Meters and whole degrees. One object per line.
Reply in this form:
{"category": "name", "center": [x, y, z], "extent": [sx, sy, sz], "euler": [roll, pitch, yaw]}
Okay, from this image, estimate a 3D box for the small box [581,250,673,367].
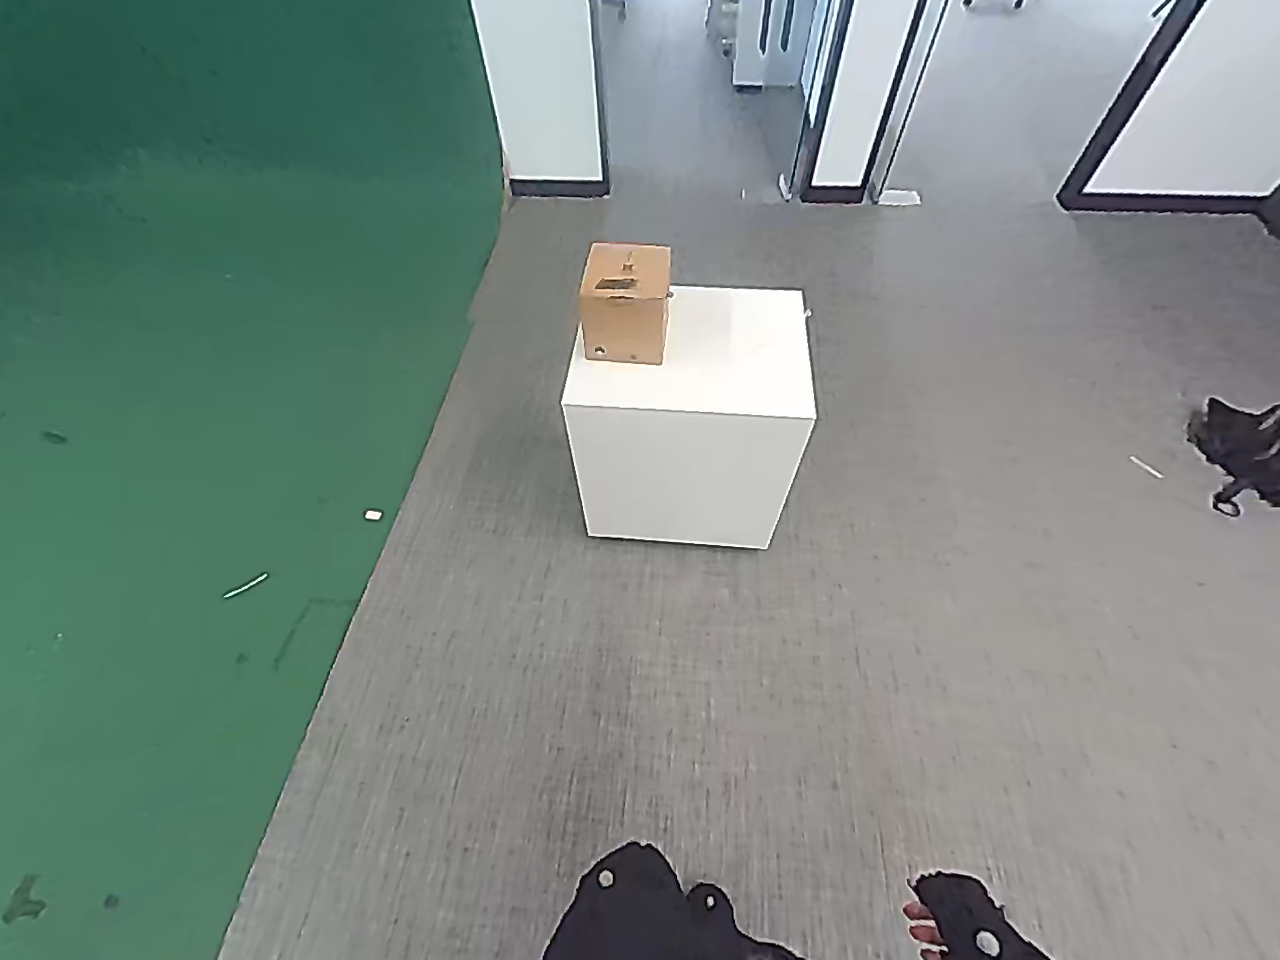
{"category": "small box", "center": [-0.020, -0.357, 1.139], "extent": [0.168, 0.176, 0.179], "euler": [5, 55, 4]}
